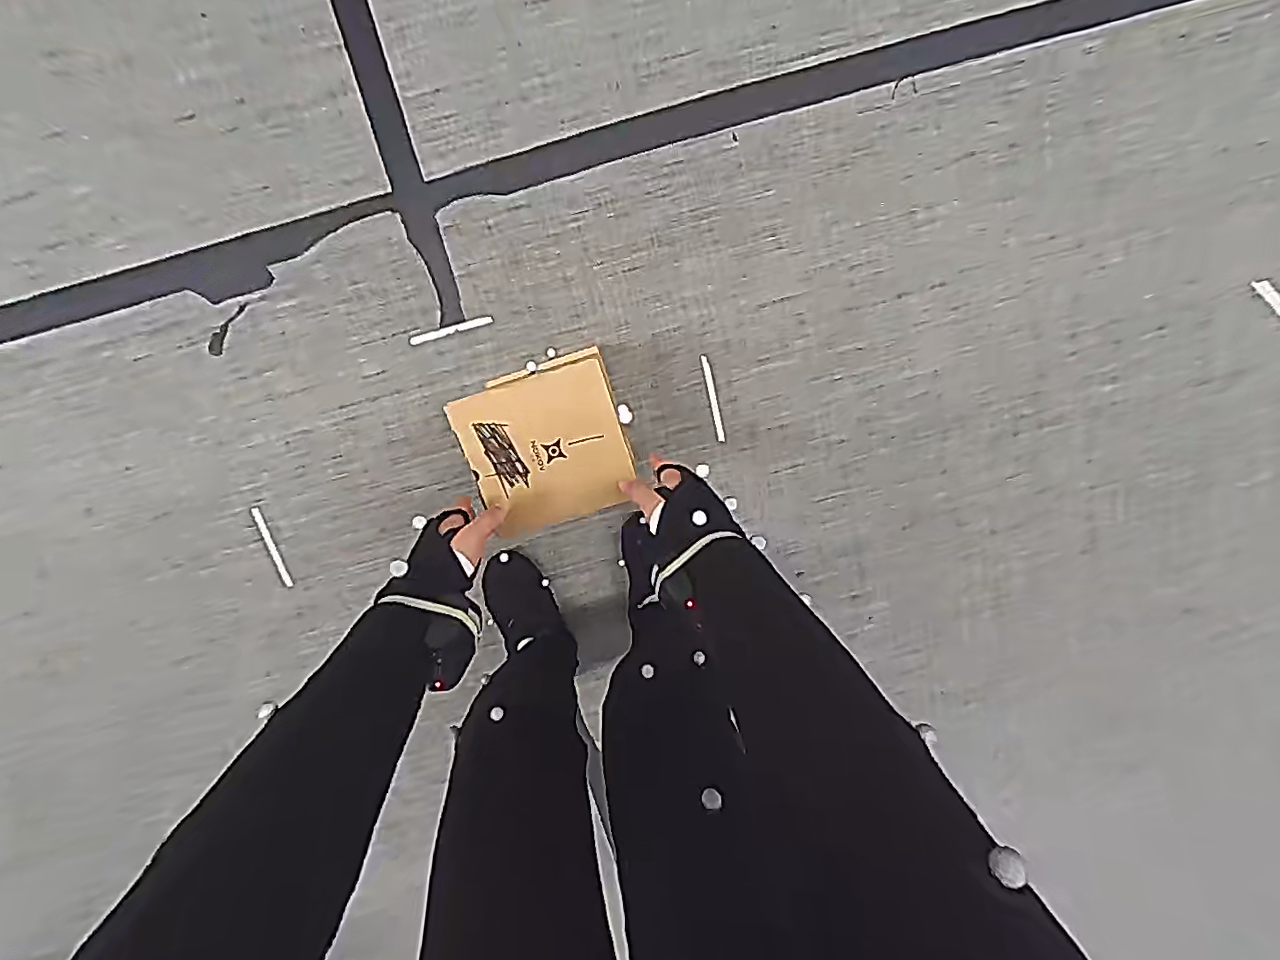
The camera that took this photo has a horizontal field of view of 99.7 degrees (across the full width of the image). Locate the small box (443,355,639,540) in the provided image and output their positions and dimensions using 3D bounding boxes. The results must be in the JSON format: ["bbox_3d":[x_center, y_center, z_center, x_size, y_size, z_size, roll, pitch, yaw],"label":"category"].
[{"bbox_3d":[-0.110,-0.049,0.667,0.179,0.176,0.168,-18,105,0],"label":"small box"}]

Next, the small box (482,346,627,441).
[{"bbox_3d":[-0.117,-0.096,0.826,0.168,0.176,0.179,-18,106,0],"label":"small box"}]
